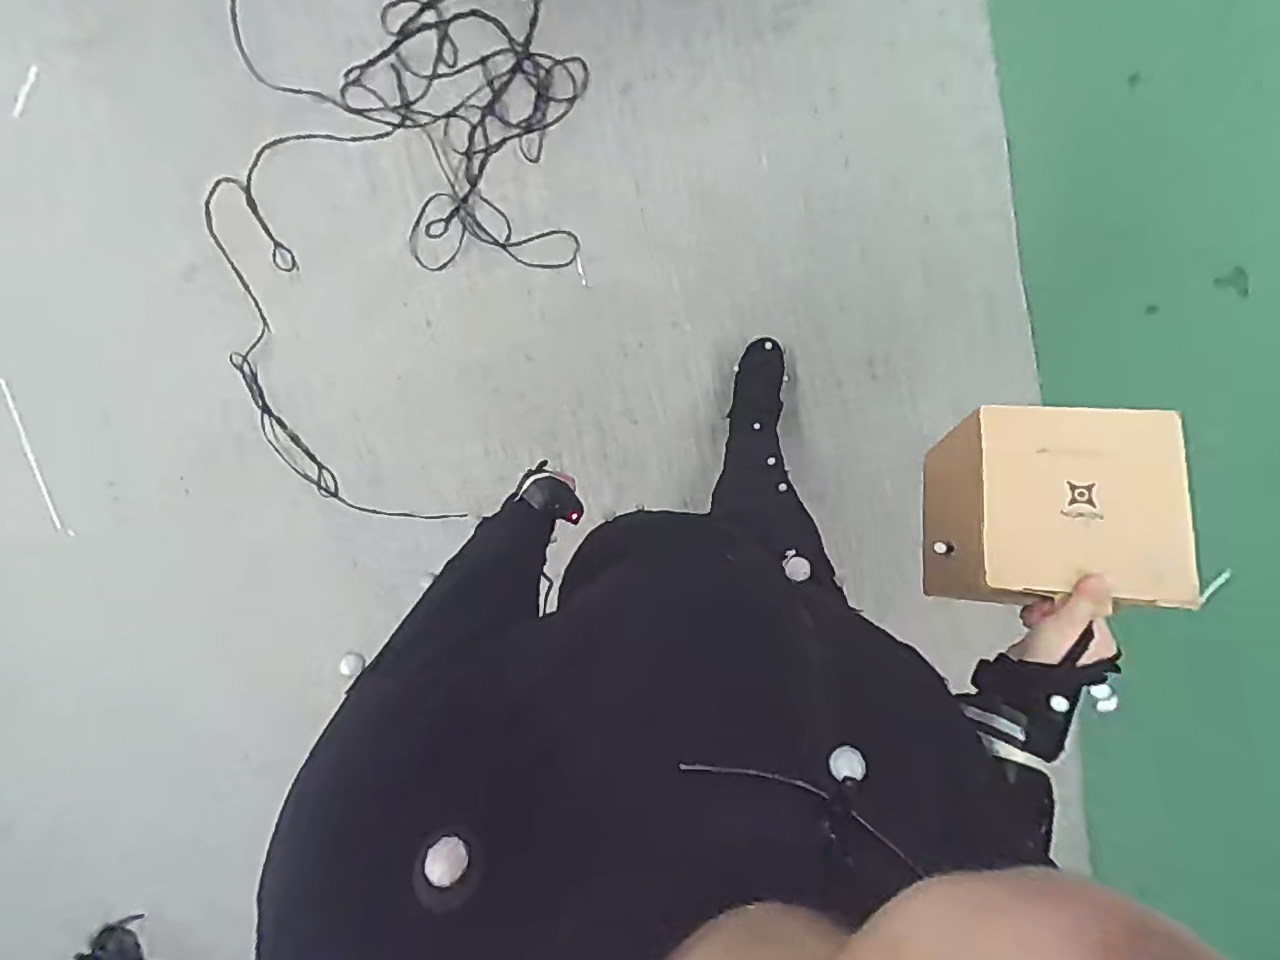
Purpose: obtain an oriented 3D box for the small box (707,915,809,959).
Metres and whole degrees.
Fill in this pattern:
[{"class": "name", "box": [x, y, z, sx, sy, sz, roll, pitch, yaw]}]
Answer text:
[{"class": "small box", "box": [0.198, 0.869, 0.882, 0.168, 0.176, 0.179, 2, 97, 3]}]
